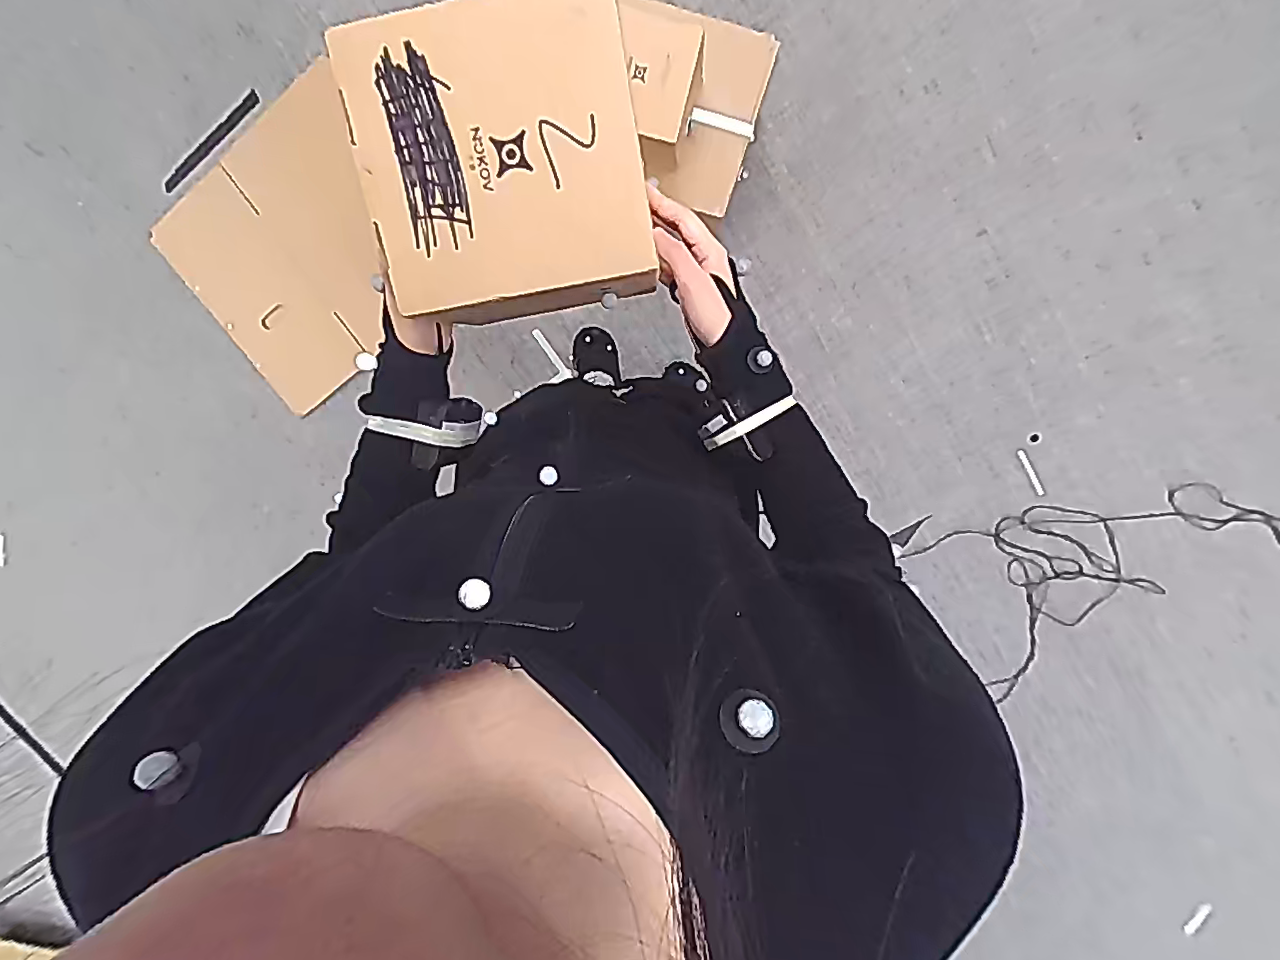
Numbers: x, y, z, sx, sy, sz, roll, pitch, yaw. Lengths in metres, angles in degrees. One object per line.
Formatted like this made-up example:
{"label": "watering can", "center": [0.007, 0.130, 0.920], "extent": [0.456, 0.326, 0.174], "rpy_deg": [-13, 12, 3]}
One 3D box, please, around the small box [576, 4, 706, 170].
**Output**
{"label": "small box", "center": [0.005, -0.658, 0.929], "extent": [0.179, 0.176, 0.168], "rpy_deg": [15, 107, 0]}
